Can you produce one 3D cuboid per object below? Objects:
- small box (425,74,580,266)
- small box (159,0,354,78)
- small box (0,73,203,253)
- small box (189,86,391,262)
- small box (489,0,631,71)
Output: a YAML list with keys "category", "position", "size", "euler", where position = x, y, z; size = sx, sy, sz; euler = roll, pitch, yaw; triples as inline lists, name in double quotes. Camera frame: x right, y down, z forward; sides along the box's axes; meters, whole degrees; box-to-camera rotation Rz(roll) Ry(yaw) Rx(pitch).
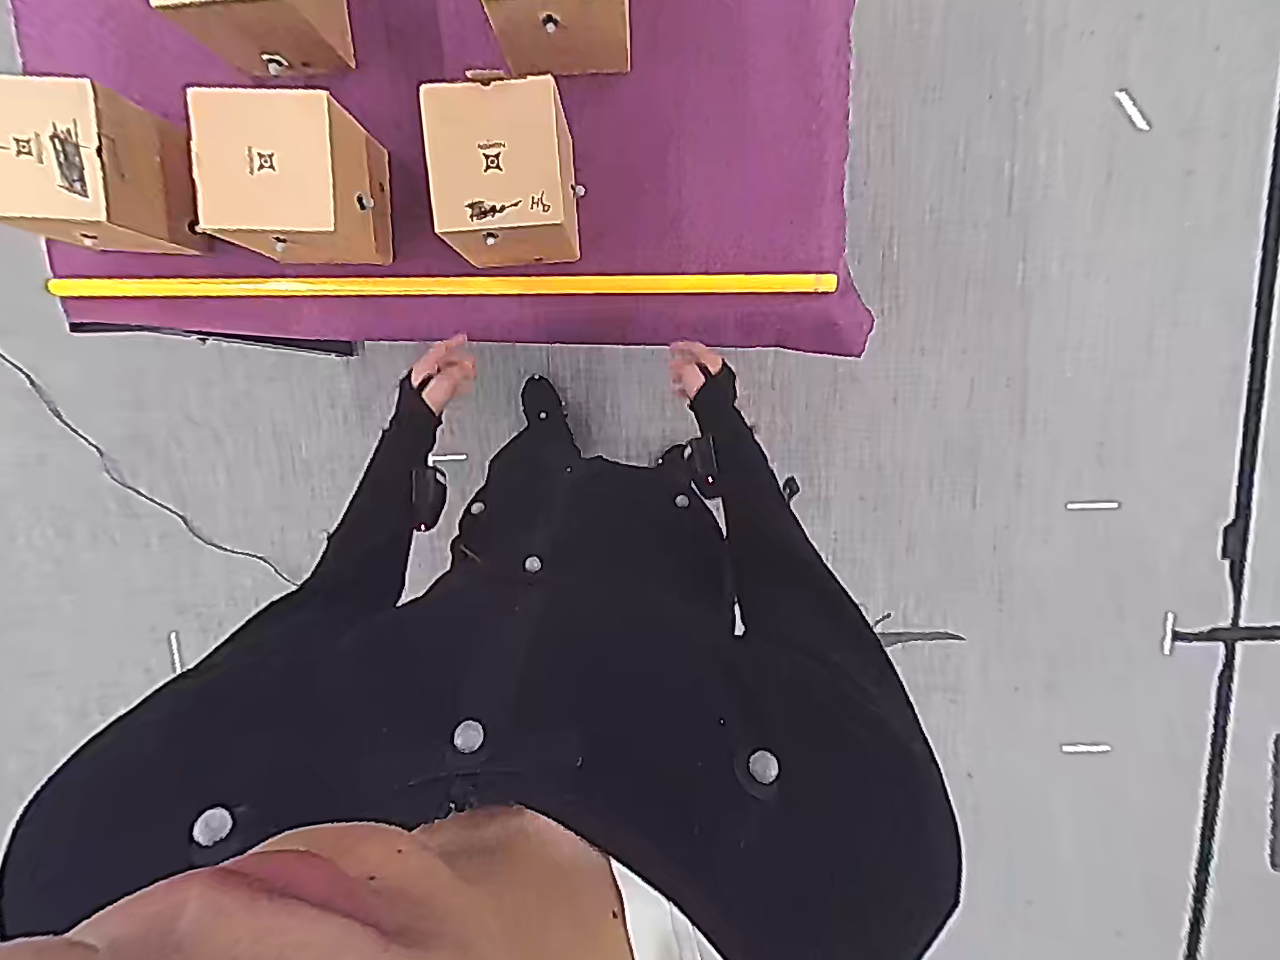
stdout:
- category: "small box"
  position: [-0.177, -0.411, 0.743]
  size: [0.168, 0.176, 0.179]
  euler: [-3, 96, 1]
- category: "small box"
  position: [-0.505, -0.672, 0.706]
  size: [0.168, 0.176, 0.179]
  euler: [-3, 100, 2]
- category: "small box"
  position: [-0.745, -0.421, 0.744]
  size: [0.179, 0.176, 0.168]
  euler: [3, 99, 0]
- category: "small box"
  position: [-0.463, -0.408, 0.747]
  size: [0.179, 0.176, 0.168]
  euler: [1, 99, 1]
- category: "small box"
  position: [-0.103, -0.667, 0.703]
  size: [0.179, 0.176, 0.168]
  euler: [-1, 100, 1]
